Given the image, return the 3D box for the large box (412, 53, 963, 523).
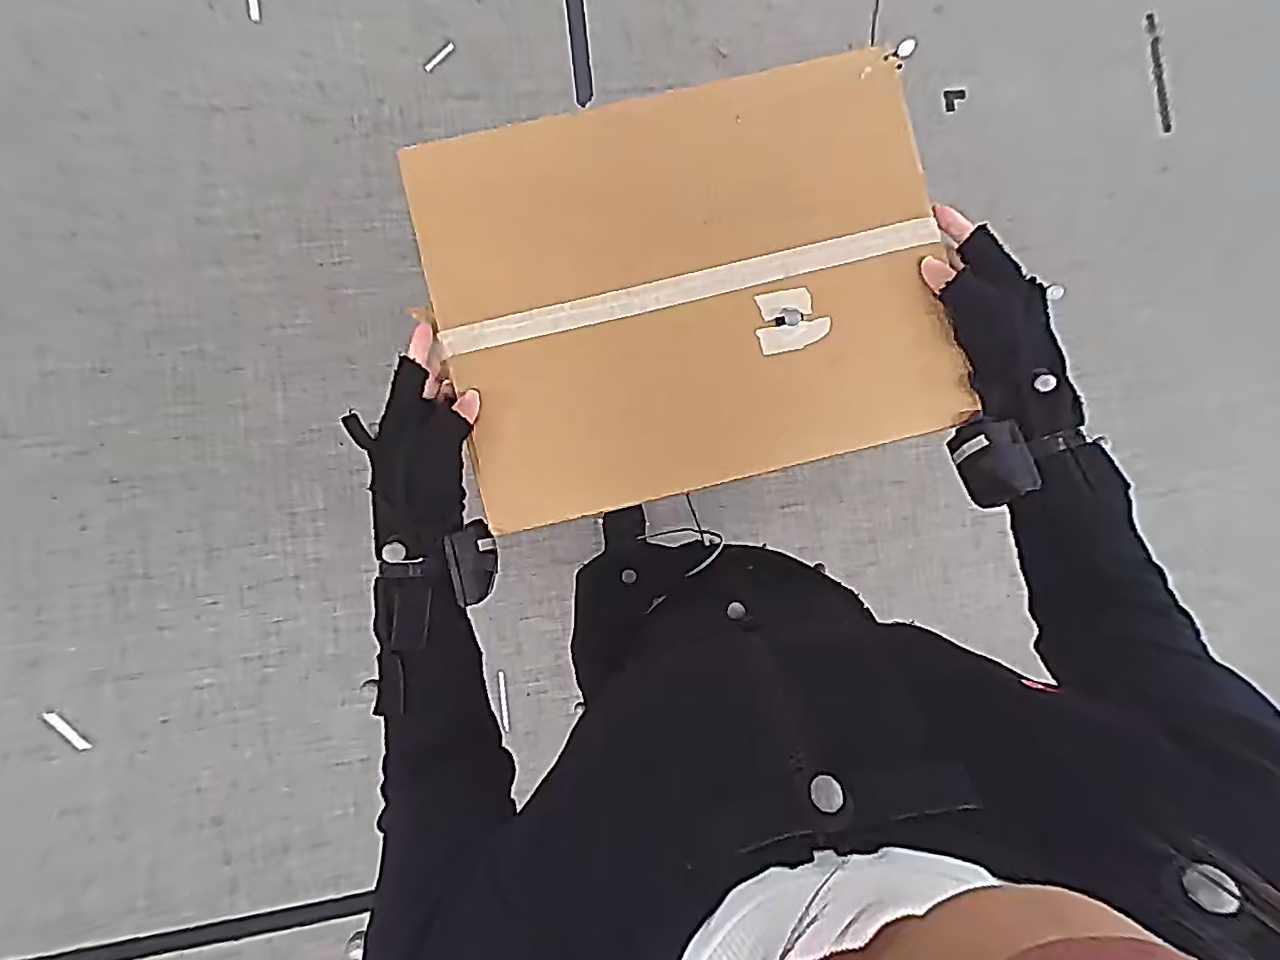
[{"bbox_3d":[0.036,-0.159,0.591,0.408,0.320,0.320,-14,91,-3],"label":"large box"}]
